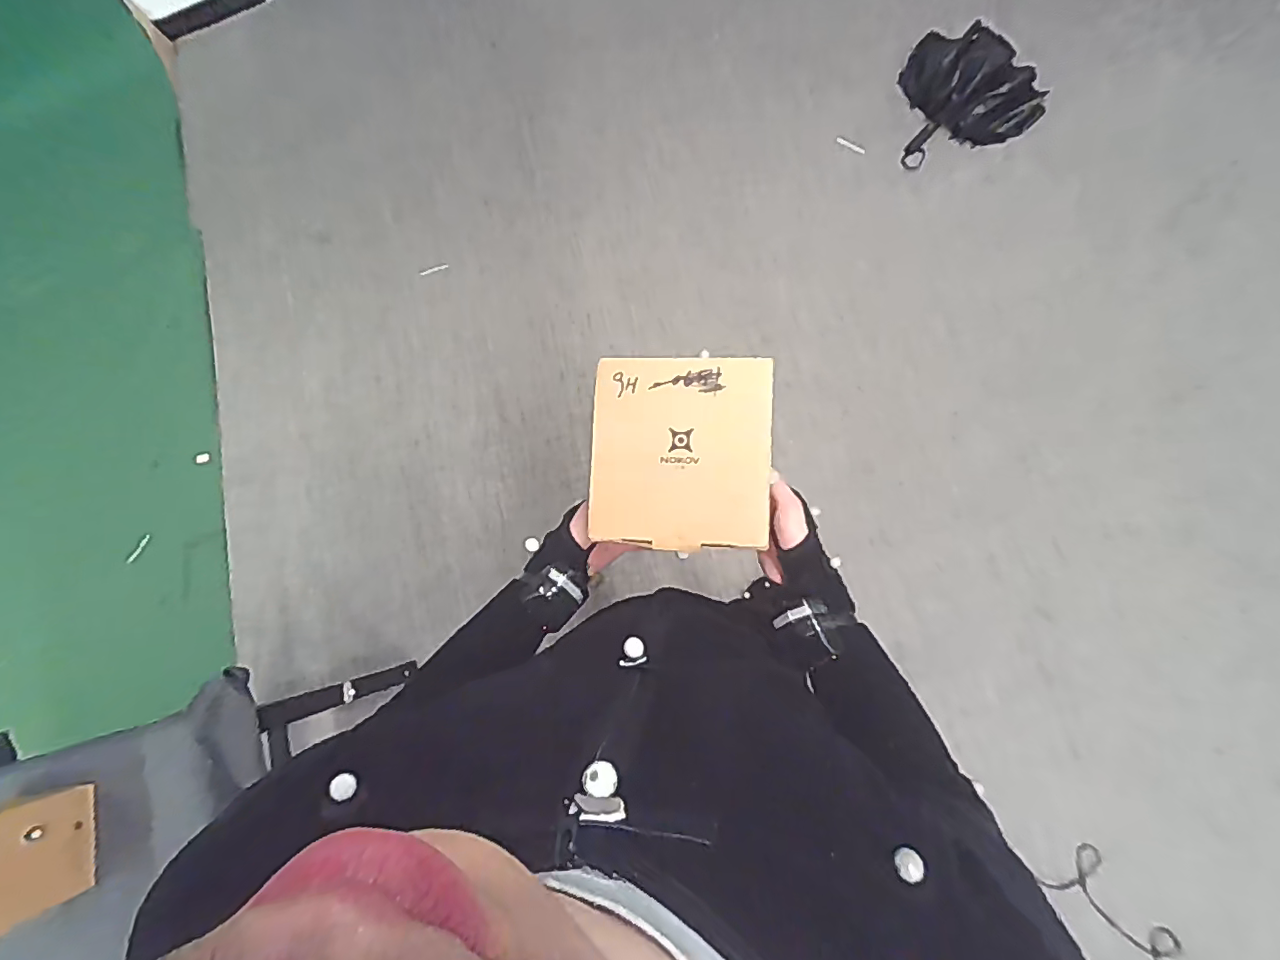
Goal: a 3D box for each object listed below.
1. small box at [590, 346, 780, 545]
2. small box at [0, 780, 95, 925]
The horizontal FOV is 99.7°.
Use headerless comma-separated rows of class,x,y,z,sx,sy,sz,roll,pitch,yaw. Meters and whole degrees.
small box,0.051,-0.028,0.563,0.168,0.176,0.179,2,85,8
small box,-1.026,0.602,0.860,0.179,0.176,0.168,-14,77,8
